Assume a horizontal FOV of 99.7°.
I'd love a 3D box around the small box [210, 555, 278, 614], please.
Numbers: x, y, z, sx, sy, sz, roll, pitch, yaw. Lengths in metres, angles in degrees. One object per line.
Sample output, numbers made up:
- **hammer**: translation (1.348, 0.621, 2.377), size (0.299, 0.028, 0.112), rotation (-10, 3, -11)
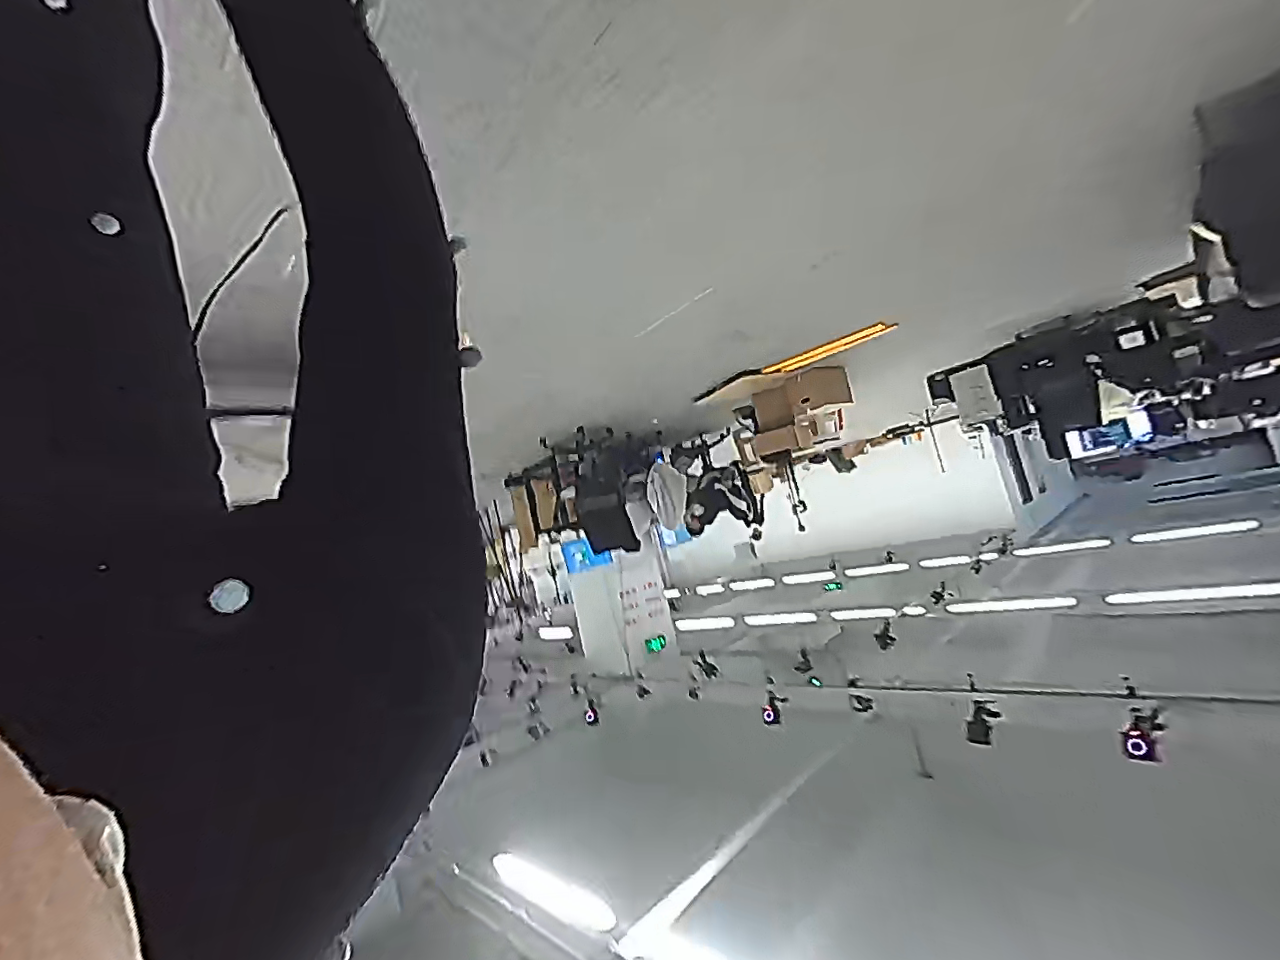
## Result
- **small box**: translation (-1.452, 0.382, 1.978), size (0.179, 0.176, 0.168), rotation (-9, 173, -42)
